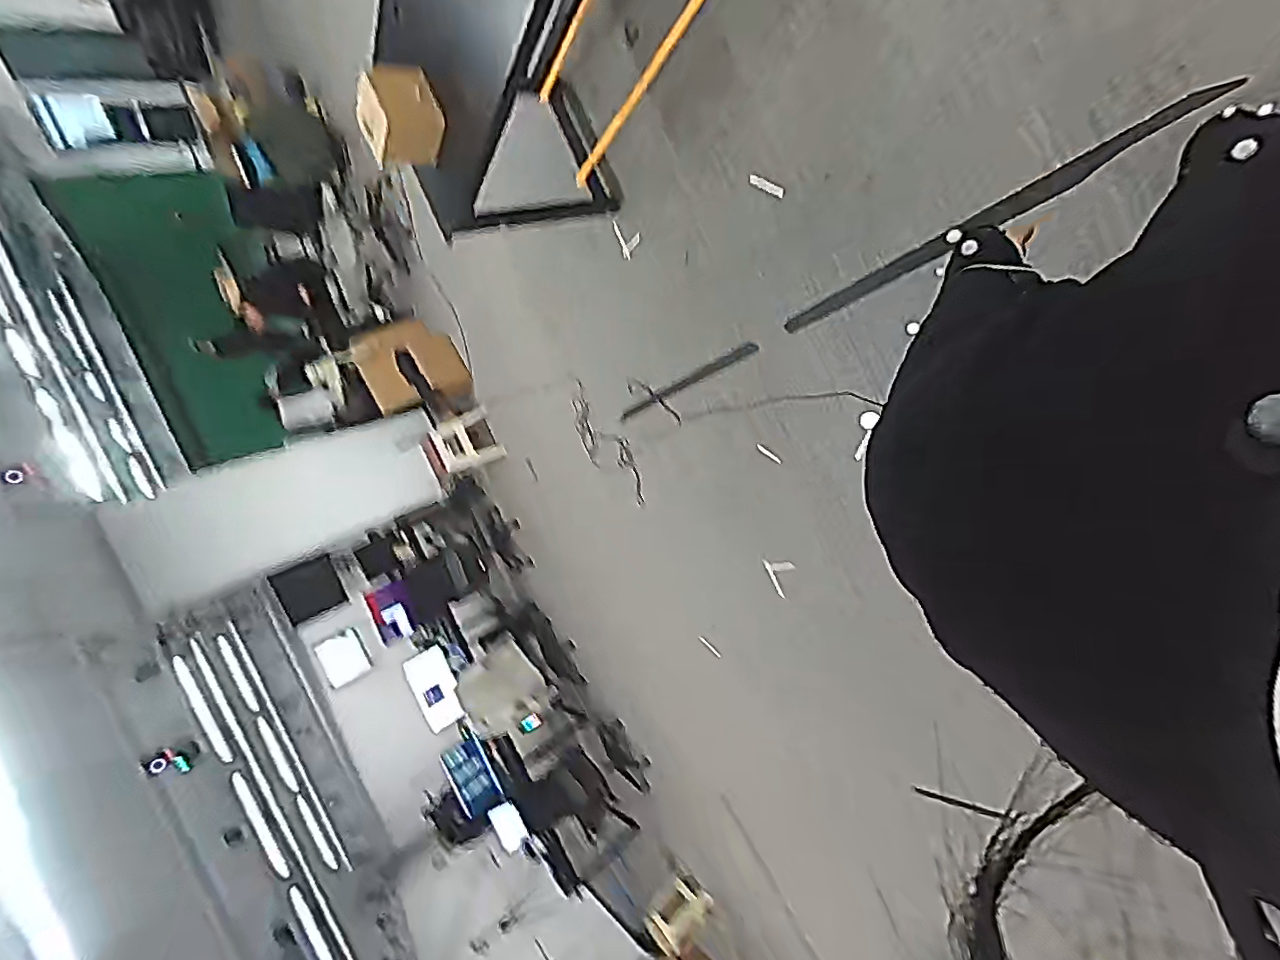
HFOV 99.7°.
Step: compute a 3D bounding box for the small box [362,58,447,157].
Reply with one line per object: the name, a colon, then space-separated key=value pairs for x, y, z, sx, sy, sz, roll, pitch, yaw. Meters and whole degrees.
small box: x=-0.679 y=-1.067 z=1.562 sx=0.179 sy=0.176 sz=0.168 roll=-23 pitch=92 yaw=57
